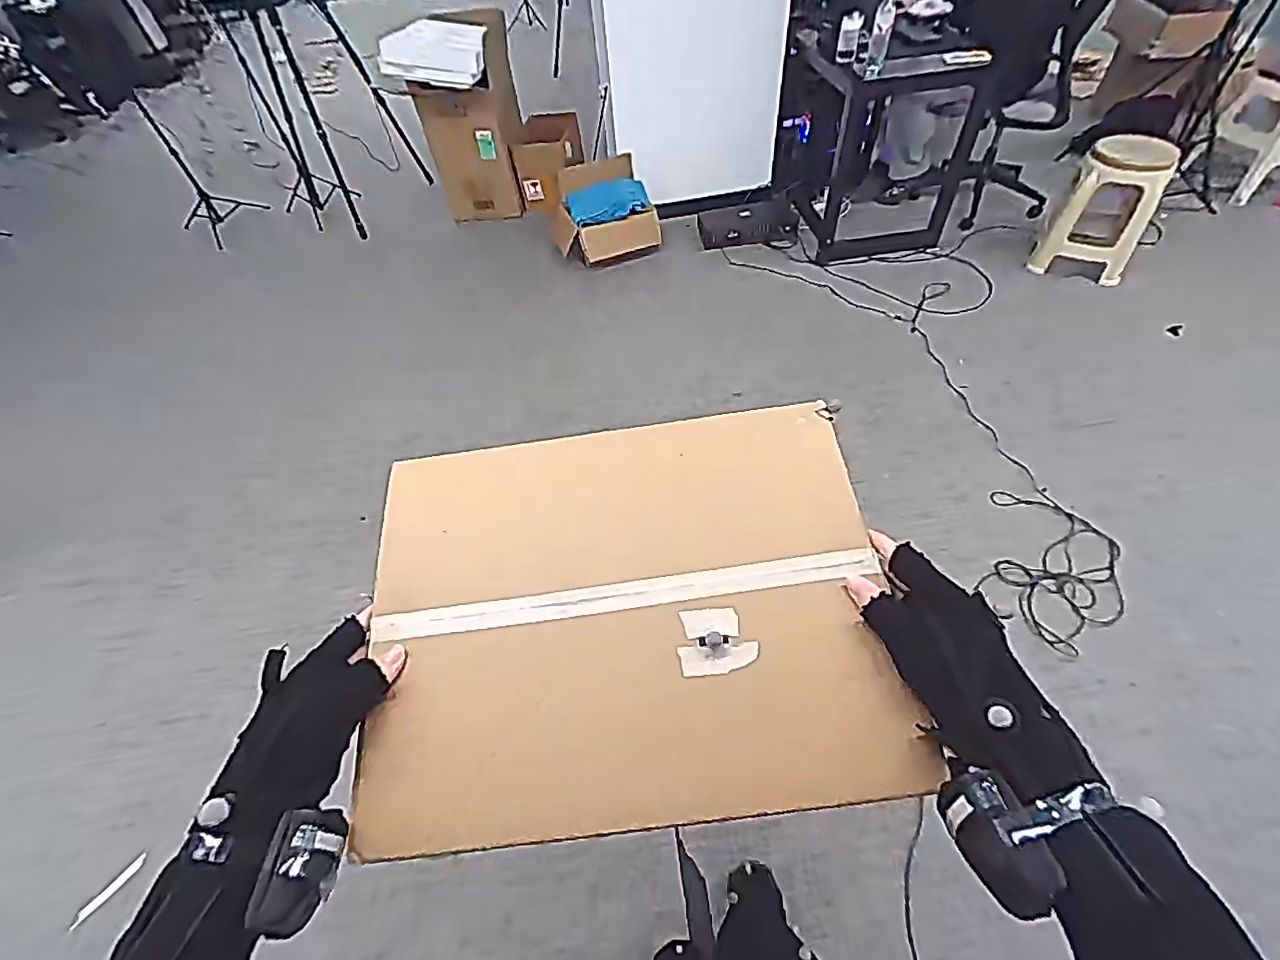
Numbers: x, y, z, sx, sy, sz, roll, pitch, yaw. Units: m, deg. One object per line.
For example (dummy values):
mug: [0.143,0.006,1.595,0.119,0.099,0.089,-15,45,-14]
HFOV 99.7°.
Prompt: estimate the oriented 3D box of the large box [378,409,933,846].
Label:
large box: [0.004,0.164,0.577,0.408,0.320,0.320,-8,62,2]
